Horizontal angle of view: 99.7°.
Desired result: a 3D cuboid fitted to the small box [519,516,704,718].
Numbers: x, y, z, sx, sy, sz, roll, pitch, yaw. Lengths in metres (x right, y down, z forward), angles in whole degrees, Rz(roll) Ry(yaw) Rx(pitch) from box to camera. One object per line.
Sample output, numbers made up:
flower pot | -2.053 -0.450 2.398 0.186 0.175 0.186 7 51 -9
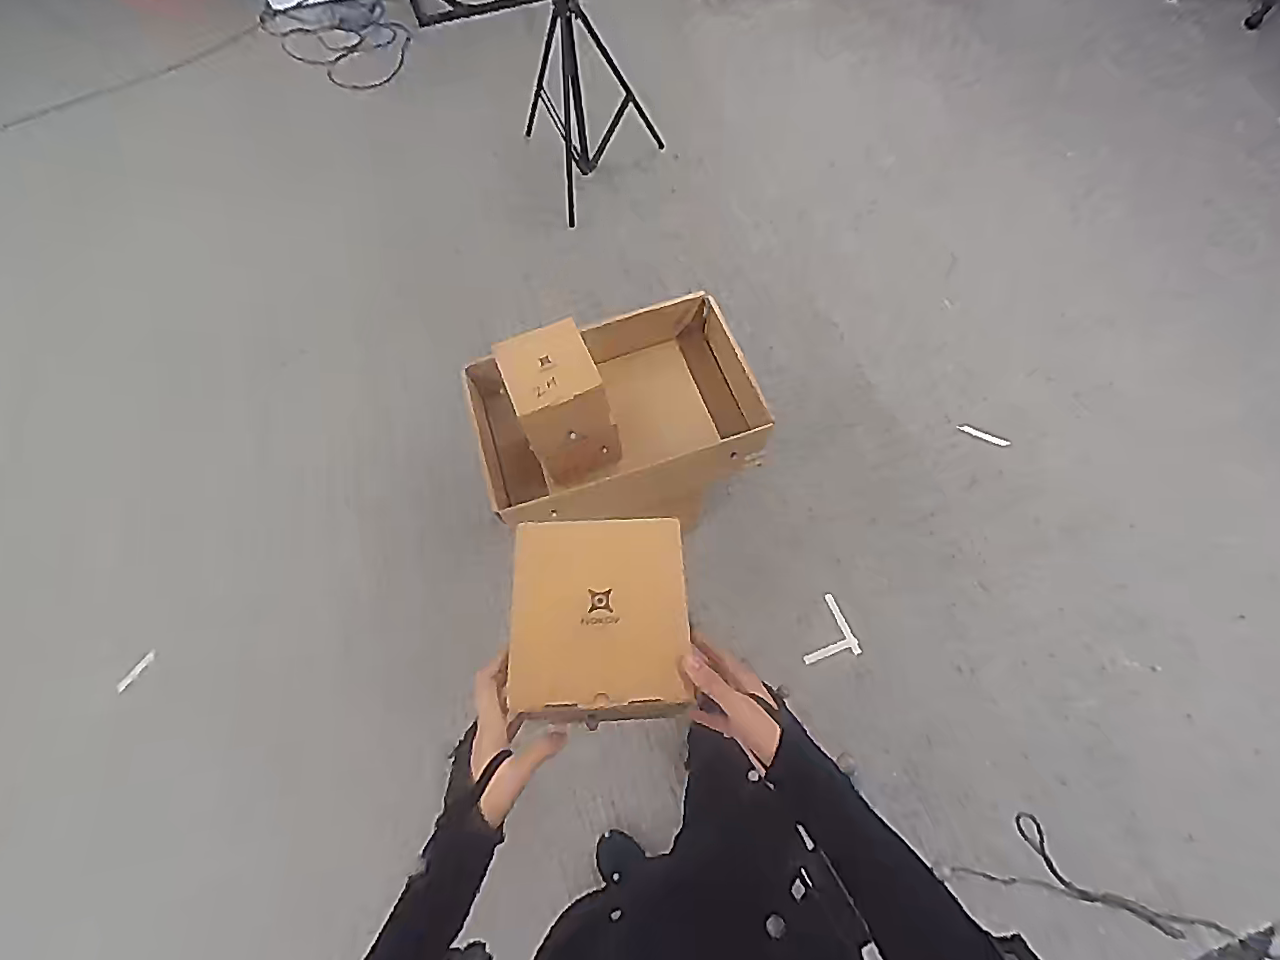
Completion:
small box | -0.033 0.152 0.581 0.168 0.176 0.179 -2 63 -4

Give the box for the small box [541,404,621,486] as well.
small box | -0.151 -0.114 1.212 0.179 0.176 0.168 -24 67 -8

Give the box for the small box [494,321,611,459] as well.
small box | -0.165 -0.172 1.059 0.168 0.176 0.179 -22 67 -7
